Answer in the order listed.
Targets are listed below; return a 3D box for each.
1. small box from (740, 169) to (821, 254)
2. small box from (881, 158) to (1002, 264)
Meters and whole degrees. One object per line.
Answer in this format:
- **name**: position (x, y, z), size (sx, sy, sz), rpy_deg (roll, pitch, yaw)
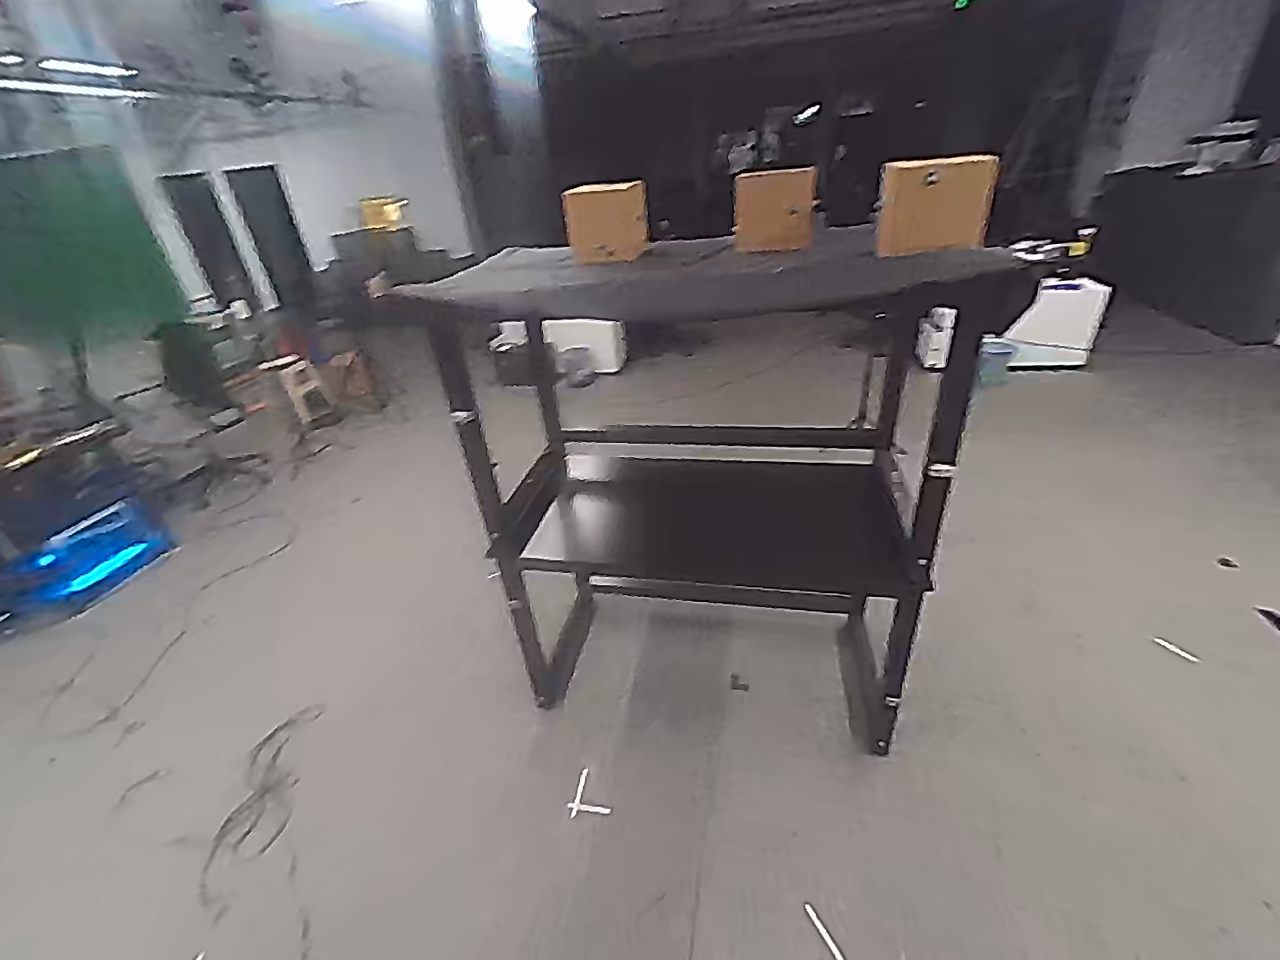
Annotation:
- **small box**: position (0.343, -0.659, 1.328), size (0.179, 0.176, 0.168), rpy_deg (3, 31, 14)
- **small box**: position (0.577, -0.526, 1.062), size (0.168, 0.176, 0.179), rpy_deg (3, 31, 17)
